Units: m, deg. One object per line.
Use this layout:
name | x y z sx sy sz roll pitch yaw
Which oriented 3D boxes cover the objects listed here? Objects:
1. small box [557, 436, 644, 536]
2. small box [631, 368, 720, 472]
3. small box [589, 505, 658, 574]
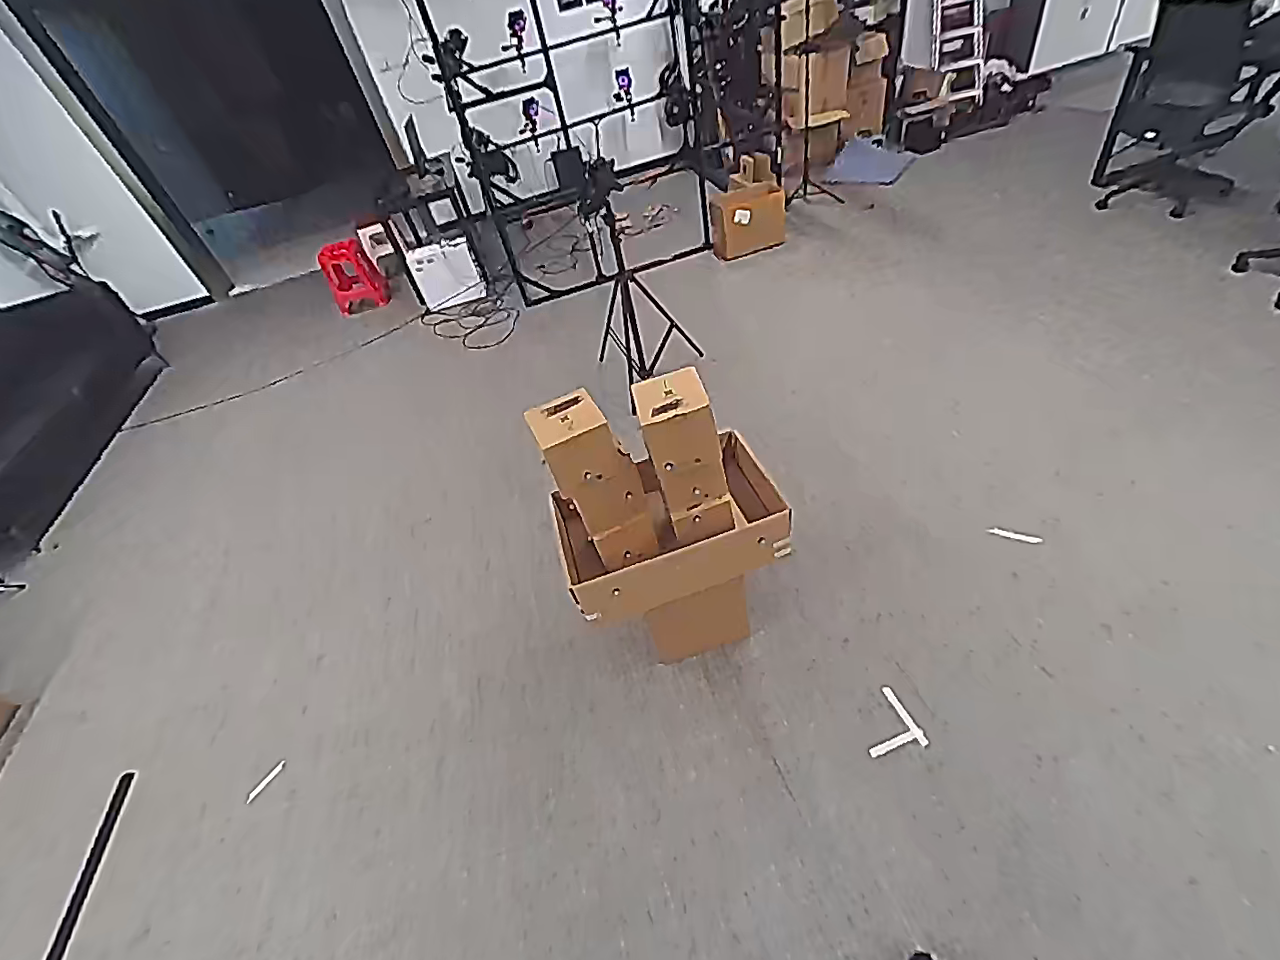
small box | -0.100 0.018 1.451 0.179 0.176 0.168 -25 43 -10
small box | 0.087 -0.138 1.312 0.168 0.176 0.179 -17 43 4
small box | -0.063 0.136 1.557 0.168 0.176 0.179 -25 44 -10
